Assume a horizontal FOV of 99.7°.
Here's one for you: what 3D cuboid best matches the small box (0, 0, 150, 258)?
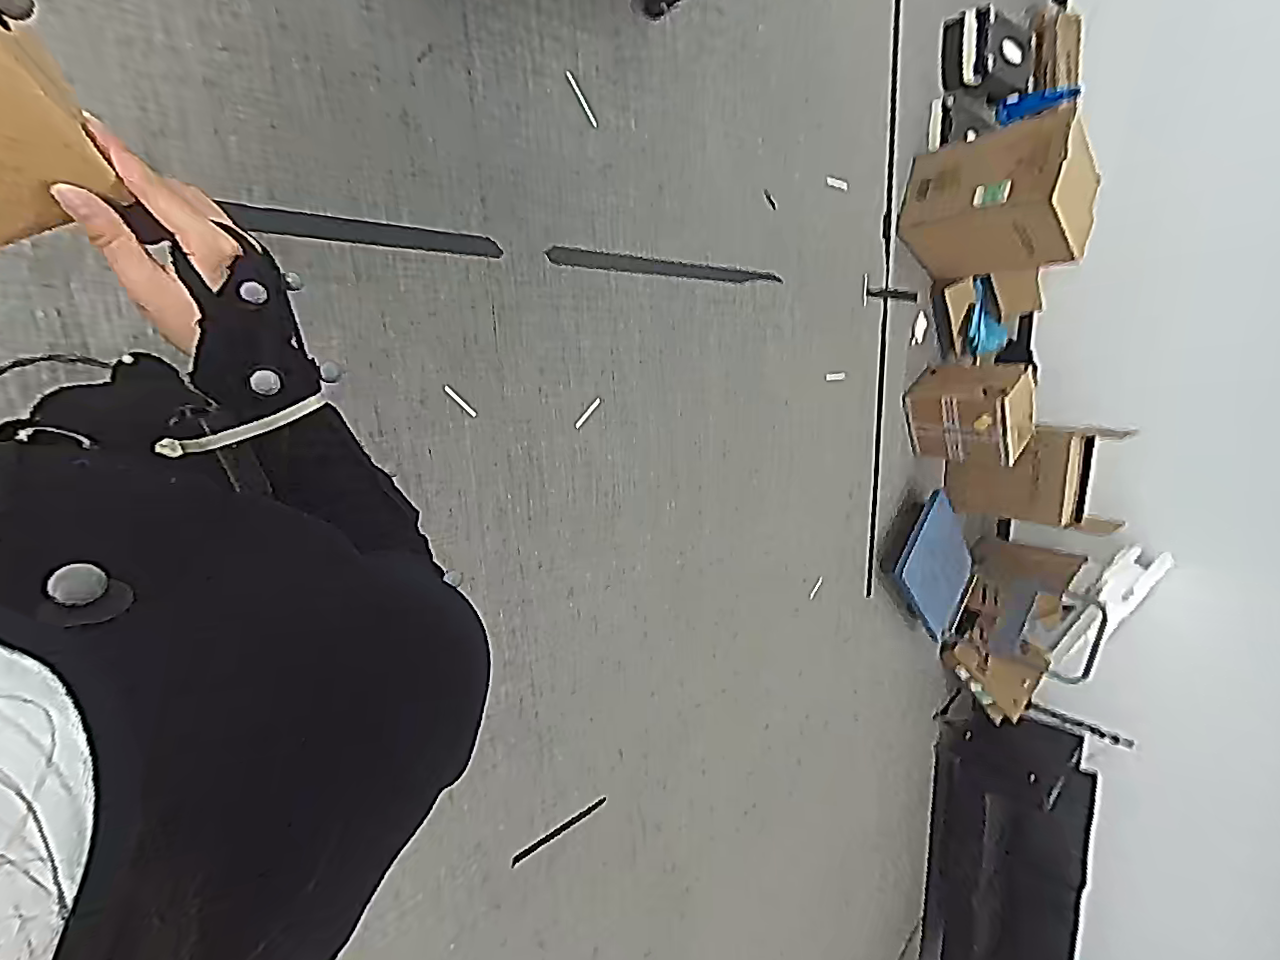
[{"bbox_3d":[-0.383,-0.206,0.227,0.179,0.176,0.168,-33,163,-18],"label":"small box"}]
